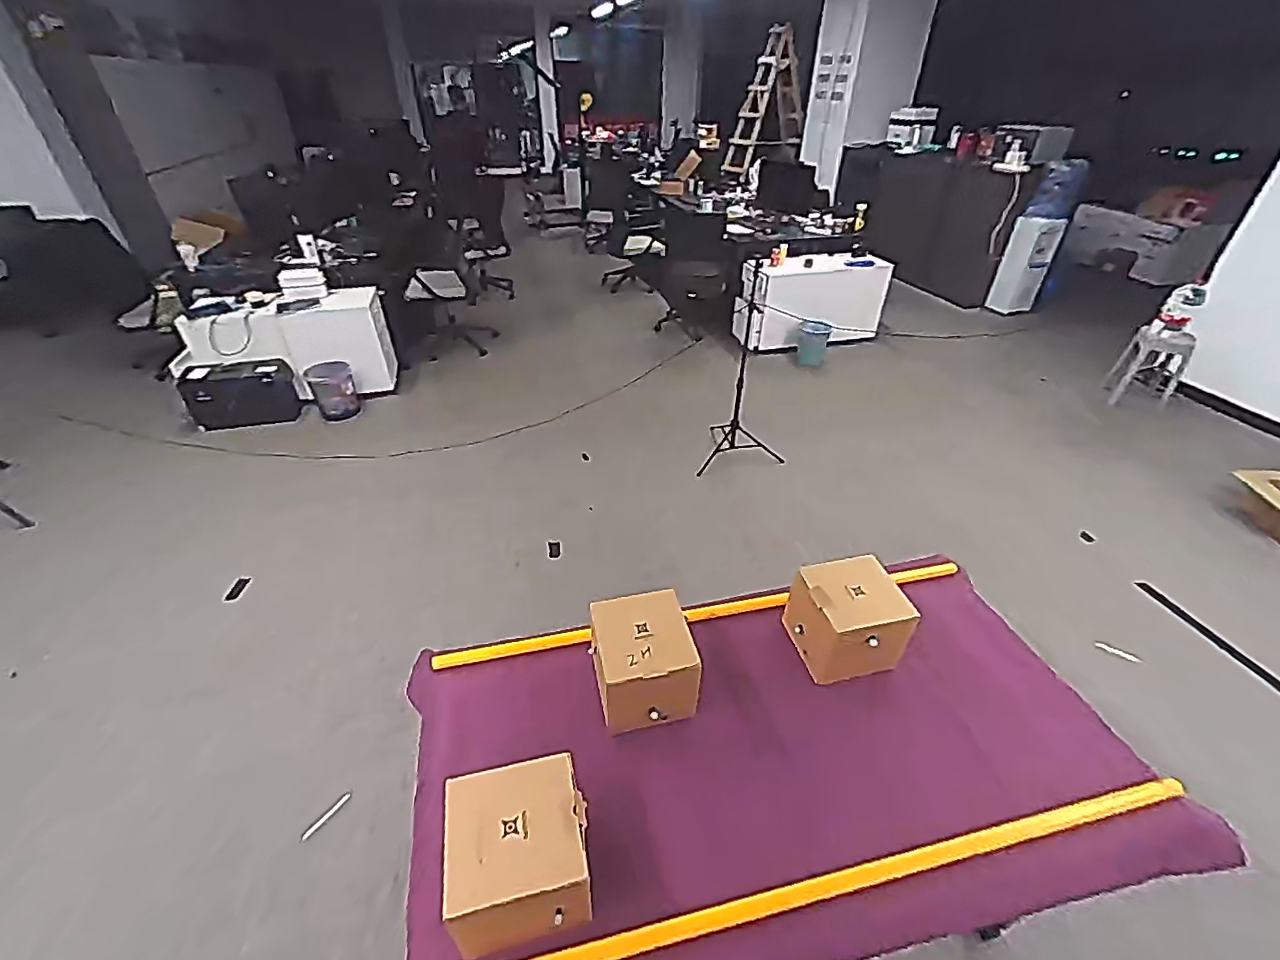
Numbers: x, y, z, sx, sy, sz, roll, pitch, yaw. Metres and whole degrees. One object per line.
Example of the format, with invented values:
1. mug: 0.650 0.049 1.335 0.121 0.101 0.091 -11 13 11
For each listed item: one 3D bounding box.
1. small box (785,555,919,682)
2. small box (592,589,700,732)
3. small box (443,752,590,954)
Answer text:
1. small box: 0.415 0.279 1.093 0.179 0.176 0.168 -8 38 -10
2. small box: 0.003 0.335 1.012 0.168 0.176 0.179 -8 39 -11
3. small box: -0.169 0.518 0.757 0.179 0.176 0.168 -7 36 -13
